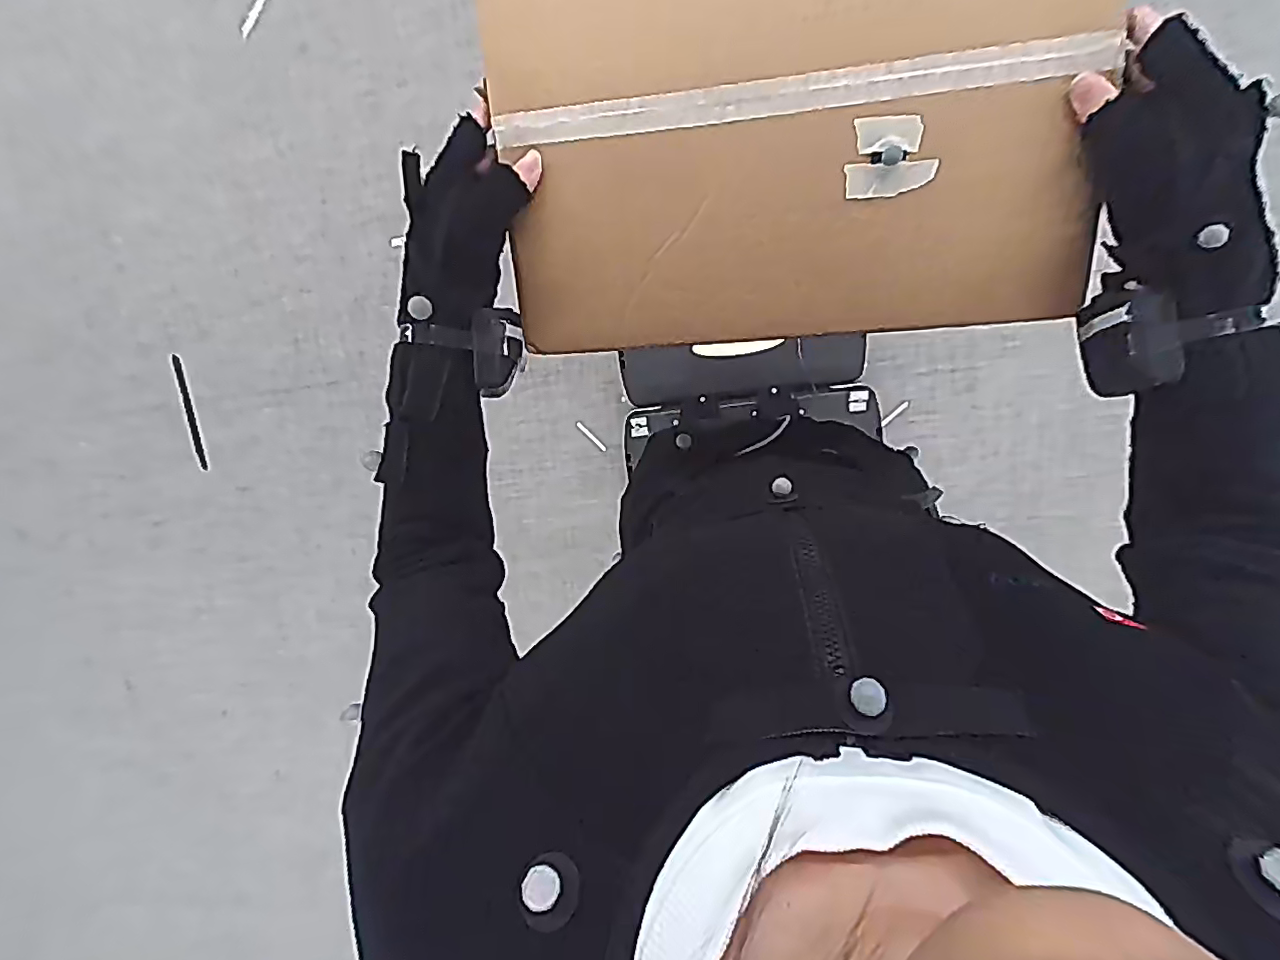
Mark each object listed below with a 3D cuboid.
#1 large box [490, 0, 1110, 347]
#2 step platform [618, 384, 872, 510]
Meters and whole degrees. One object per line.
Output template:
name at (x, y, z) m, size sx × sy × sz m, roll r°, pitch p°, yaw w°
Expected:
large box at (0.114, -0.309, 0.514) m, size 0.408 × 0.320 × 0.320 m, roll -2°, pitch 108°, yaw 7°
step platform at (0.280, -0.088, 1.517) m, size 0.684 × 0.204 × 0.286 m, roll -6°, pitch 99°, yaw 11°
